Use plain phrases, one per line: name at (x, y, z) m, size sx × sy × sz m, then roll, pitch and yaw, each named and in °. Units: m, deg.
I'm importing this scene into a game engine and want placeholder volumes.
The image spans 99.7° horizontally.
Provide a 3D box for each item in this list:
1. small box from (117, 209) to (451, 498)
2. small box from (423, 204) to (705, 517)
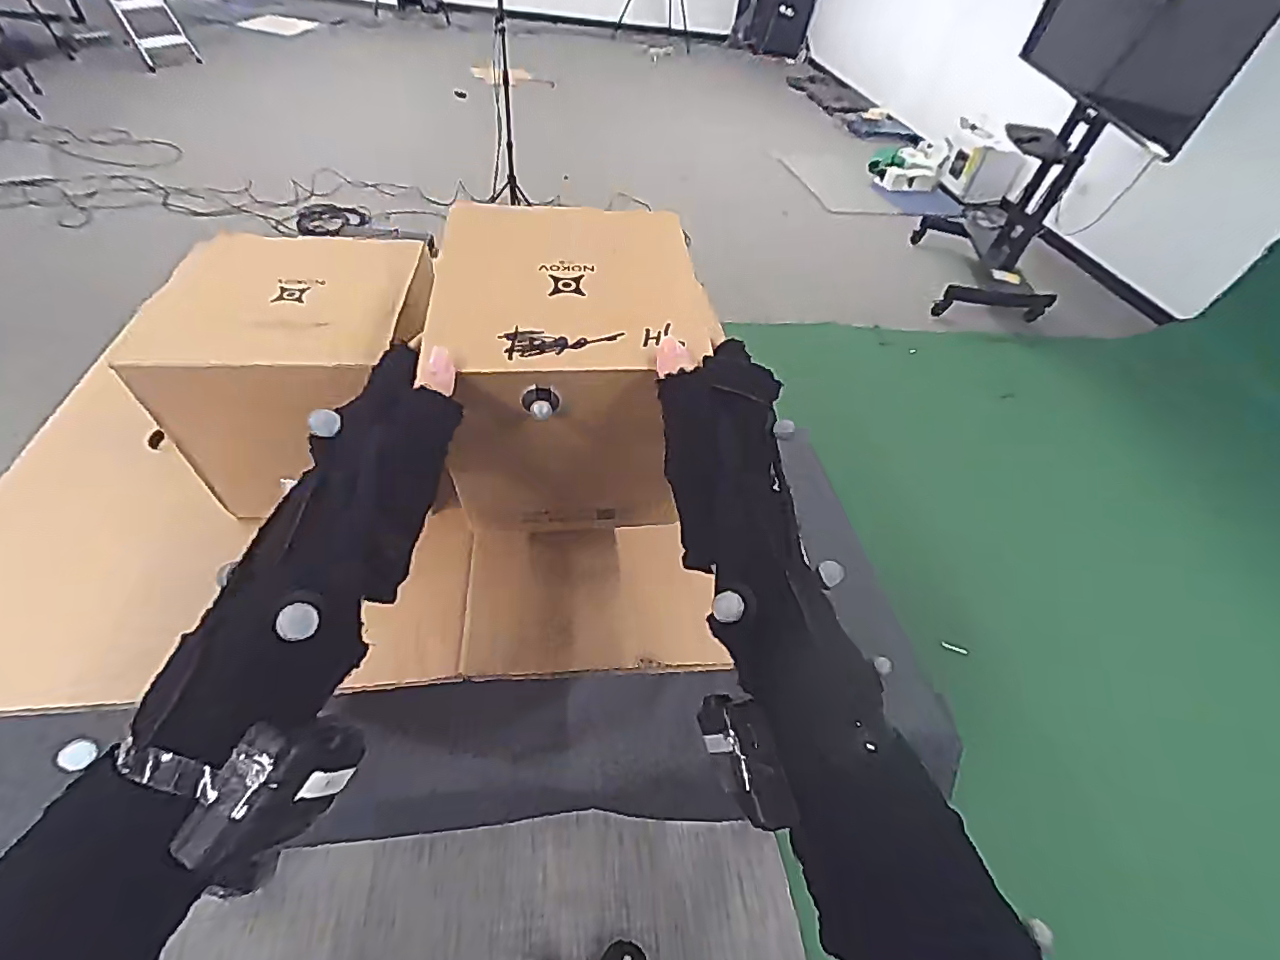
small box at (-0.261, -0.103, 0.459) m, size 0.168 × 0.176 × 0.179 m, roll -2°, pitch 51°, yaw -8°
small box at (-0.054, -0.089, 0.424) m, size 0.168 × 0.176 × 0.179 m, roll -2°, pitch 53°, yaw -6°
